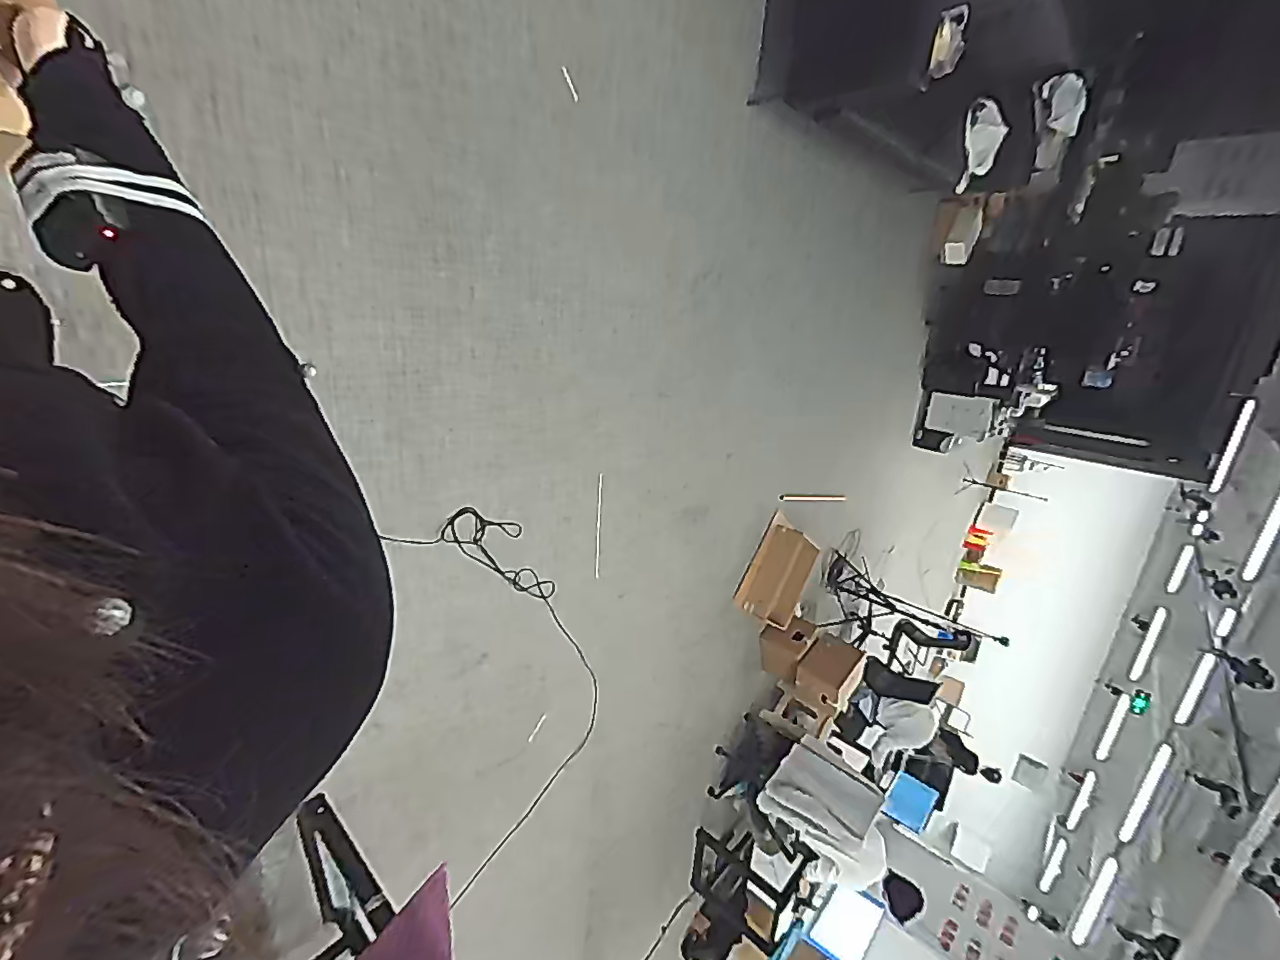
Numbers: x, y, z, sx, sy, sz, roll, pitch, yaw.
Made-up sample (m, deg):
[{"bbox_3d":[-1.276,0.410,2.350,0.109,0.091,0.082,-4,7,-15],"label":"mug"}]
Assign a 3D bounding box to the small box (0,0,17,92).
[{"bbox_3d":[-0.721,-0.498,0.504,0.168,0.176,0.179,-11,113,-46],"label":"small box"}]
